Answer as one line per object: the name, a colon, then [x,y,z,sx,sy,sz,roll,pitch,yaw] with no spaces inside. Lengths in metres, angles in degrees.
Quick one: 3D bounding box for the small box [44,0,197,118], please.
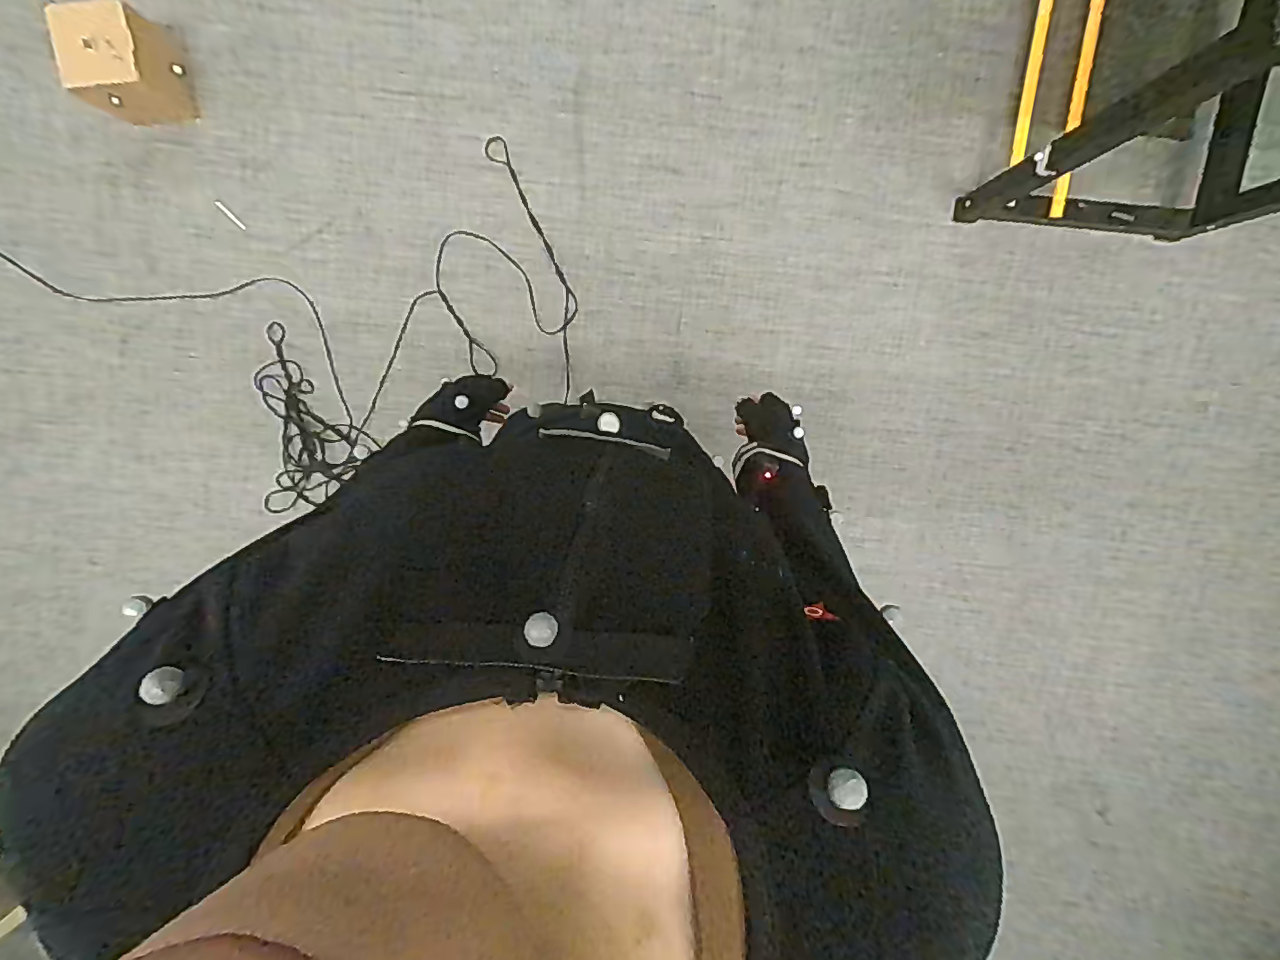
small box: [-1.191,-0.969,1.253,0.179,0.176,0.168,-5,100,2]
